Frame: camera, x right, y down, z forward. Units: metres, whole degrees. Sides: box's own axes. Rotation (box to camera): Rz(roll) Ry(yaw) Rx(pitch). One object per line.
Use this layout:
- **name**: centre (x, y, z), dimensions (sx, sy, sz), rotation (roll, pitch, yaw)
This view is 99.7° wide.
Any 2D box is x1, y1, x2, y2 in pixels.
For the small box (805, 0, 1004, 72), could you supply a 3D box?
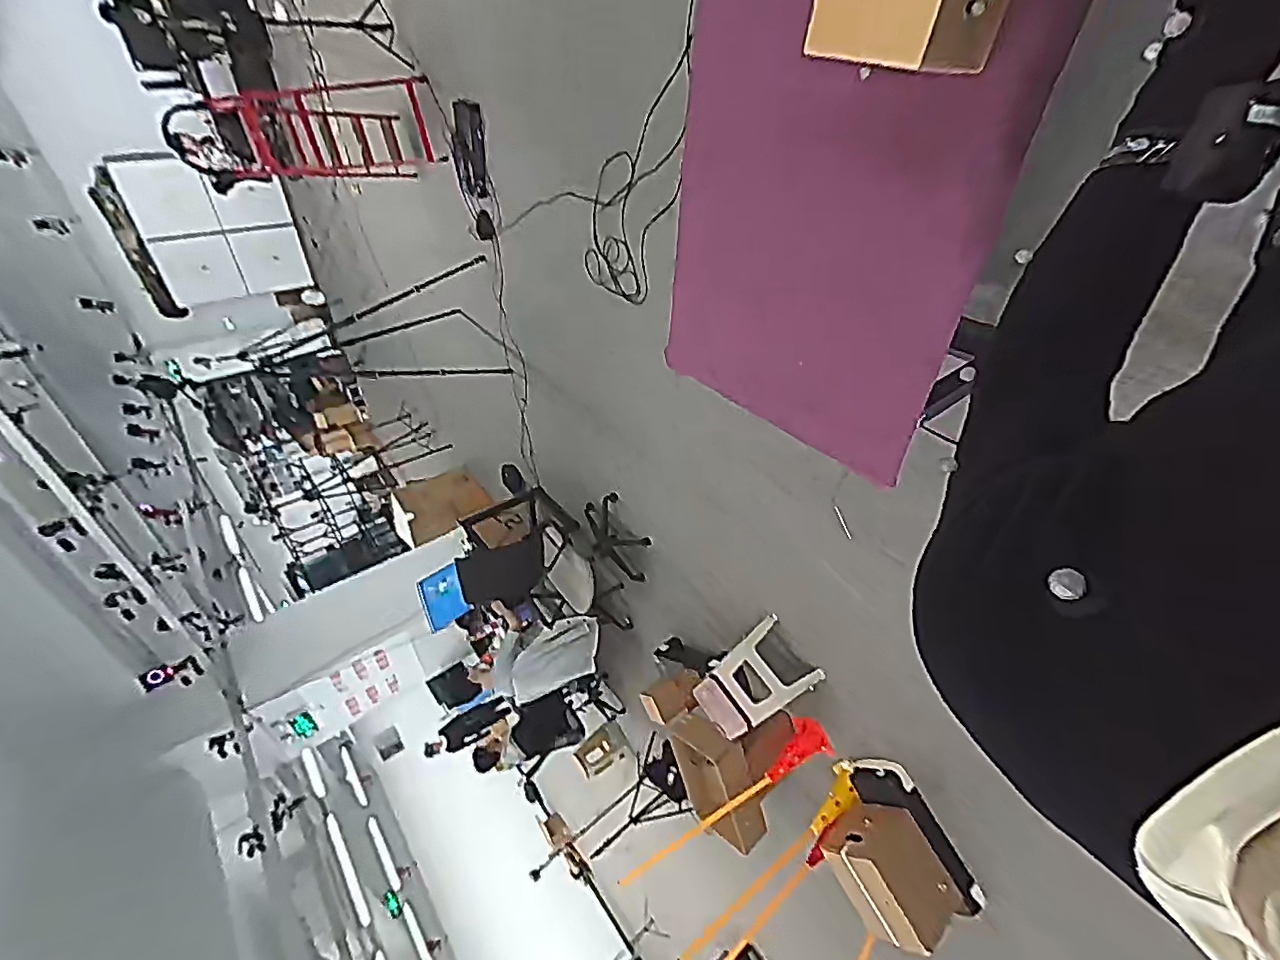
- **small box**: centre (0.343, -0.618, 0.665), dimensions (0.179, 0.176, 0.168), rotation (42, 144, 34)
